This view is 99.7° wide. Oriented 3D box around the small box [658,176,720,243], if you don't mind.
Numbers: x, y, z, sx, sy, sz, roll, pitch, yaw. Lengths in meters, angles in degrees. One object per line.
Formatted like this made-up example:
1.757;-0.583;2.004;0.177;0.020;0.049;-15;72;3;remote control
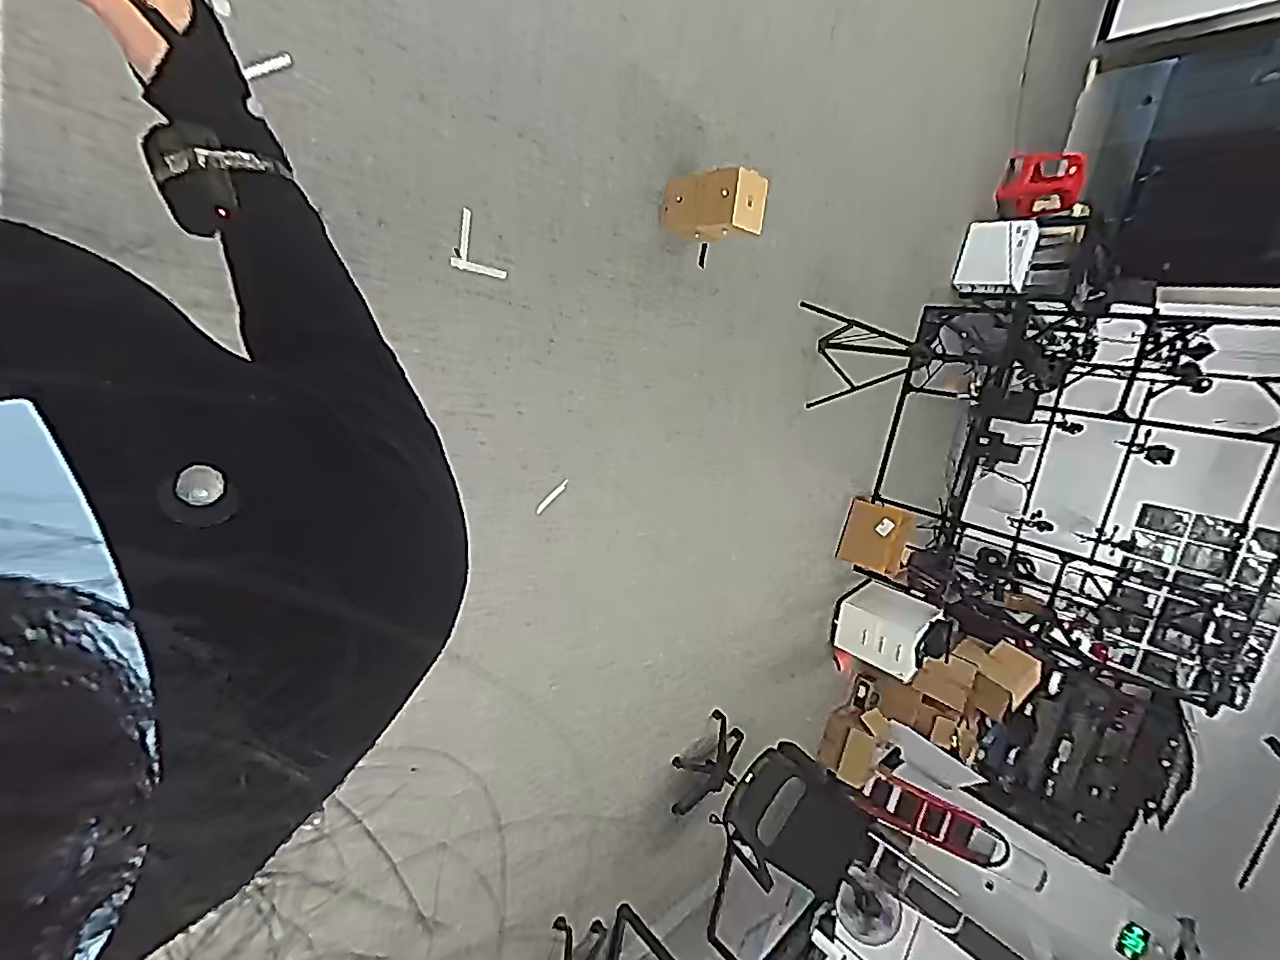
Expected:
0.188;-0.966;1.953;0.179;0.176;0.168;4;102;-47;small box

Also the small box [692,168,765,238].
0.295;-0.930;1.835;0.168;0.176;0.179;-8;110;-44;small box
